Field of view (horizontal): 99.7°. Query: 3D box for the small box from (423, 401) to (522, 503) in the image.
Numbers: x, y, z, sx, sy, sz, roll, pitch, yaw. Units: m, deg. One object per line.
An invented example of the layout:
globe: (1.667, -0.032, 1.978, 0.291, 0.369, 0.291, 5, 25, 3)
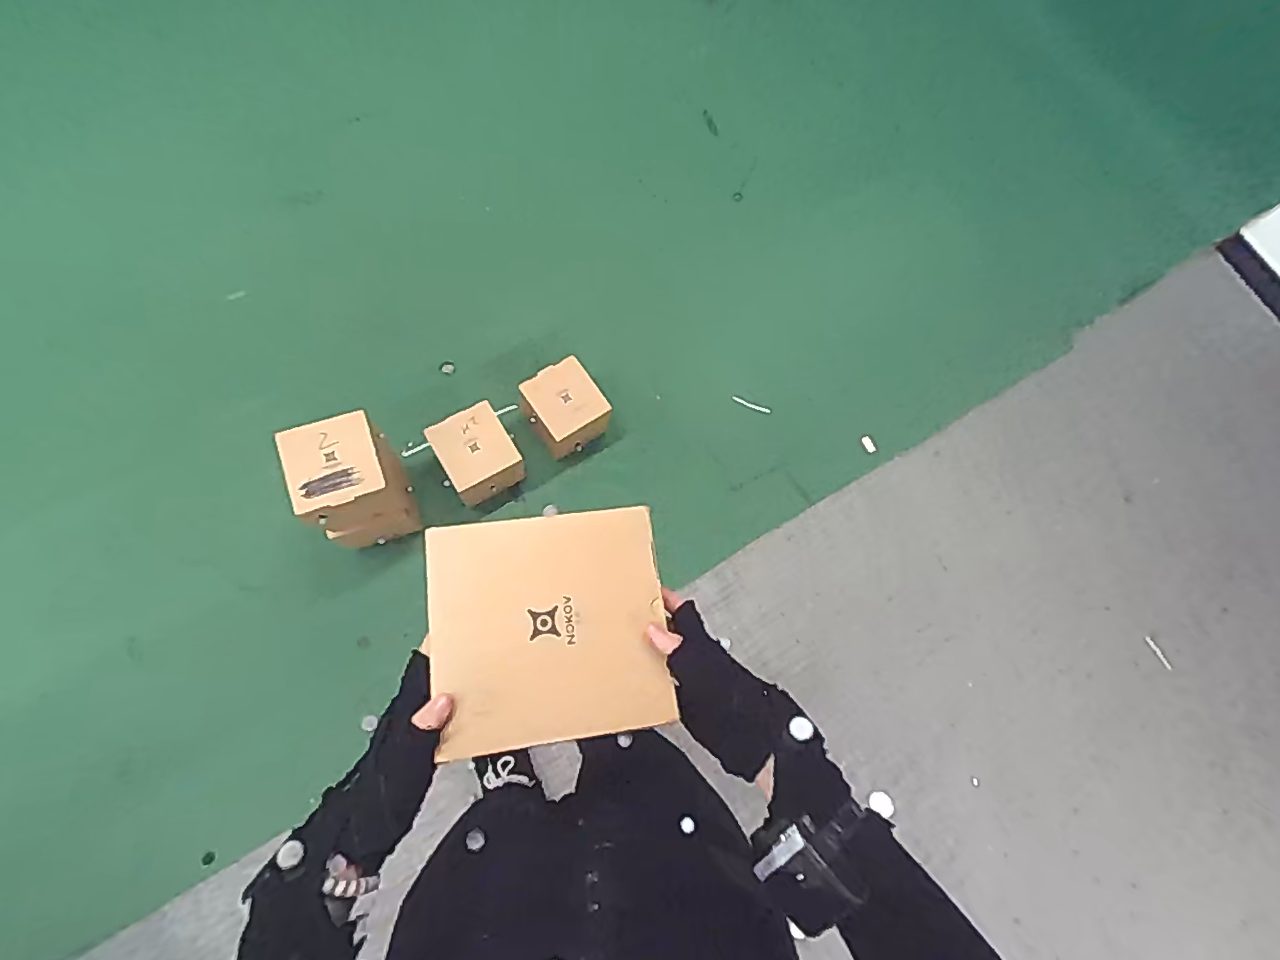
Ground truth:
small box: (-0.400, -0.059, 1.323, 0.168, 0.176, 0.179, -30, 80, -17)

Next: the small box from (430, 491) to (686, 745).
small box: (-0.072, 0.119, 0.471, 0.179, 0.176, 0.168, -6, 73, -11)

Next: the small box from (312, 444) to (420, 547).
small box: (-0.627, 0.040, 1.253, 0.168, 0.176, 0.179, -17, 78, -14)

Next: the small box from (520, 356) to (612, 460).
small box: (-0.196, -0.179, 1.397, 0.168, 0.176, 0.179, -33, 82, -17)
